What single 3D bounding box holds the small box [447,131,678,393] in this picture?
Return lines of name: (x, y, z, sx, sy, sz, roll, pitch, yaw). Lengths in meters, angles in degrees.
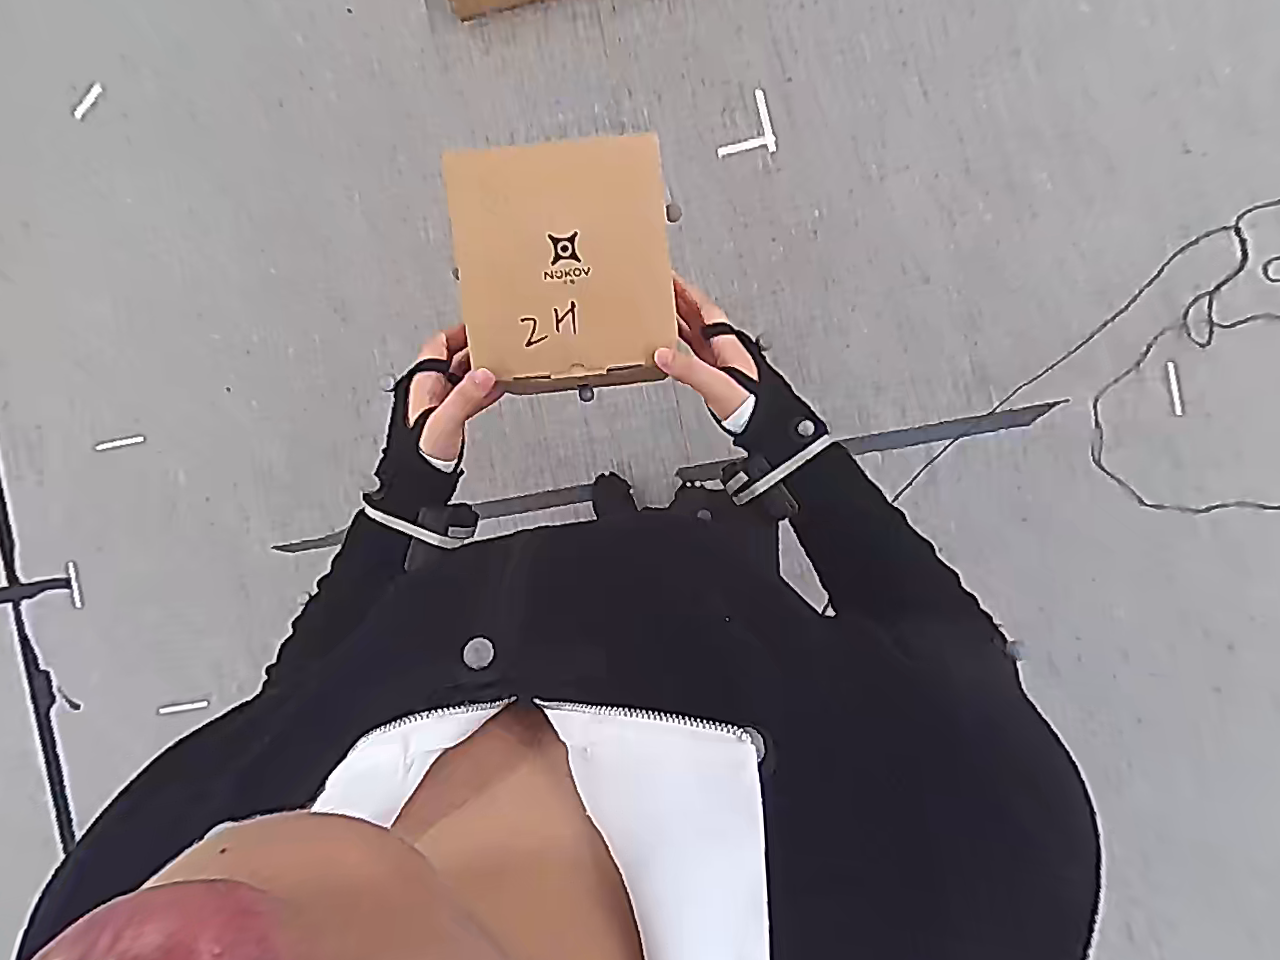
small box: (-0.061, -0.180, 0.497, 0.168, 0.176, 0.179, -6, 95, -1)
